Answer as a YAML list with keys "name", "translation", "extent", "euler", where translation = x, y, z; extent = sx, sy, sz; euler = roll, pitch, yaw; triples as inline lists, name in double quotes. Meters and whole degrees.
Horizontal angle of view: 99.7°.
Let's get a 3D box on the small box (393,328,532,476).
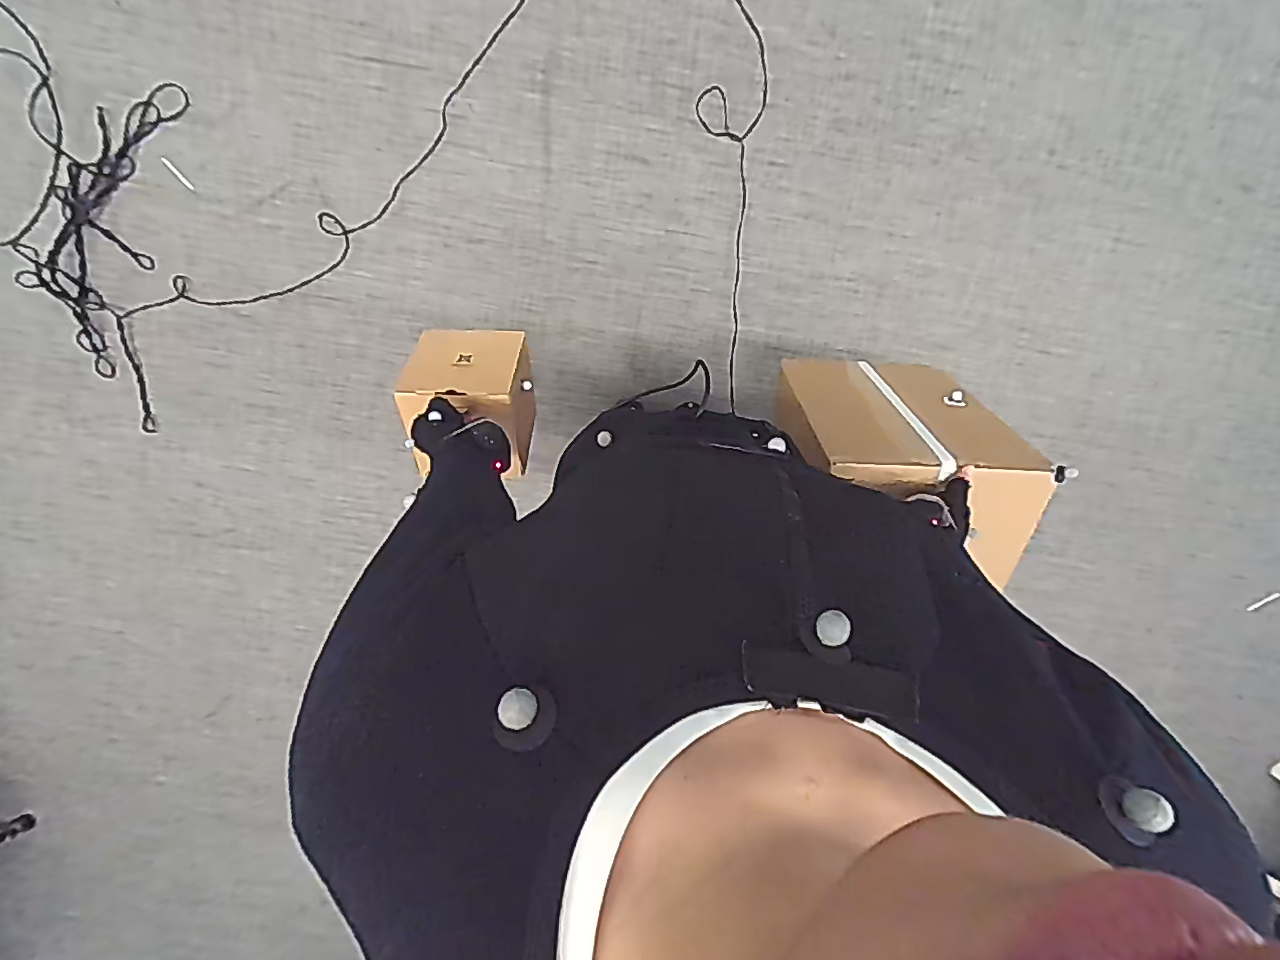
- name: "small box"
  translation: [-0.274, -0.127, 0.881]
  extent: [0.168, 0.179, 0.176]
  euler: [1, 136, -2]
